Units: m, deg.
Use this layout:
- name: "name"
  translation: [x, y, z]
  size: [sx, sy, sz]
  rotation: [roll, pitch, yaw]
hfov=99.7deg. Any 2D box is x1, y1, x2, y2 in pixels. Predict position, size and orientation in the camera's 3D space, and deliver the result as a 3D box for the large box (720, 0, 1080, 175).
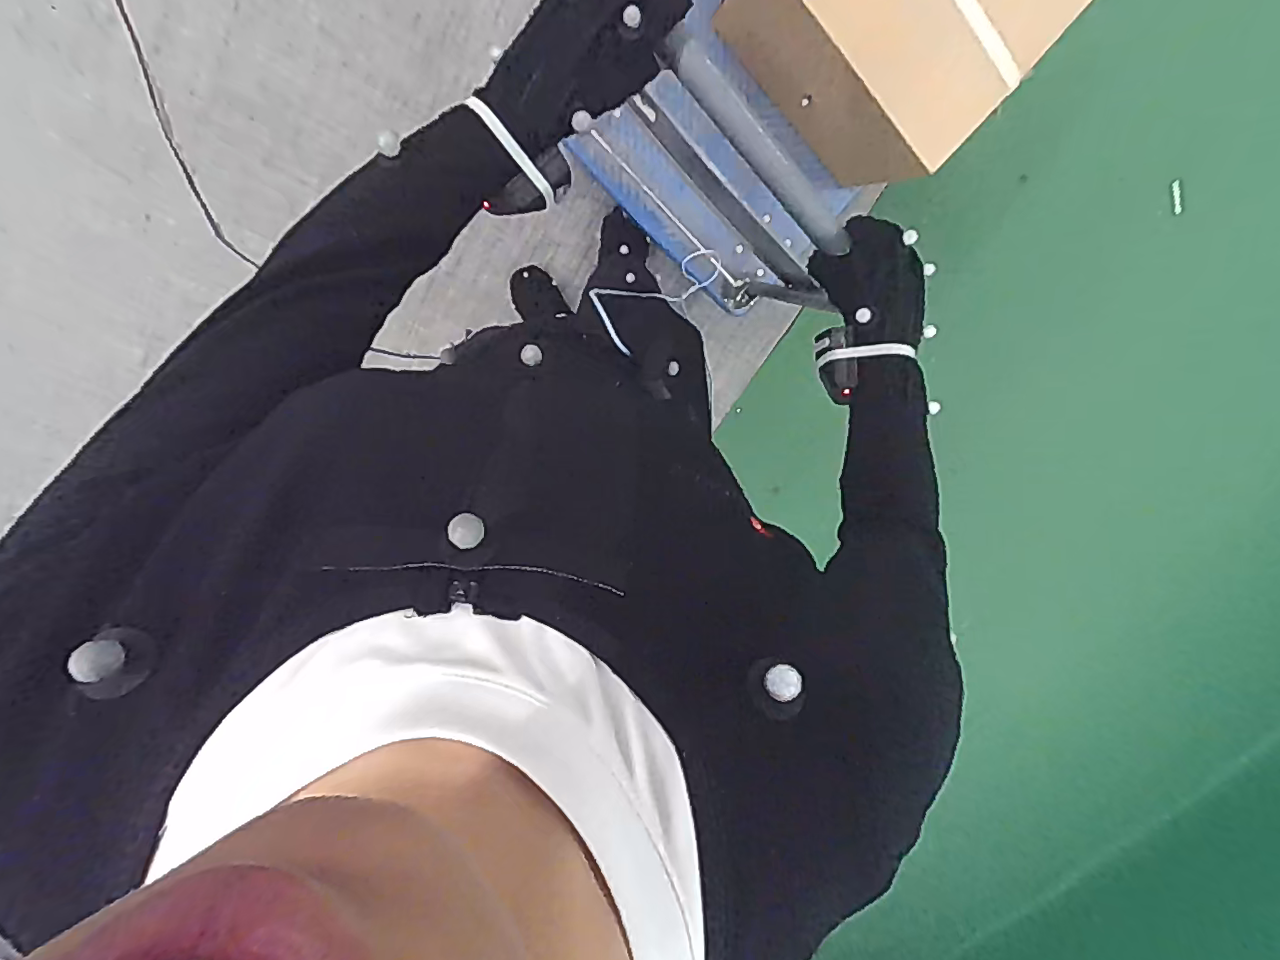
- name: "large box"
  translation: [0.402, -0.782, 0.887]
  size: [0.408, 0.320, 0.320]
  rotation: [36, 106, -20]
